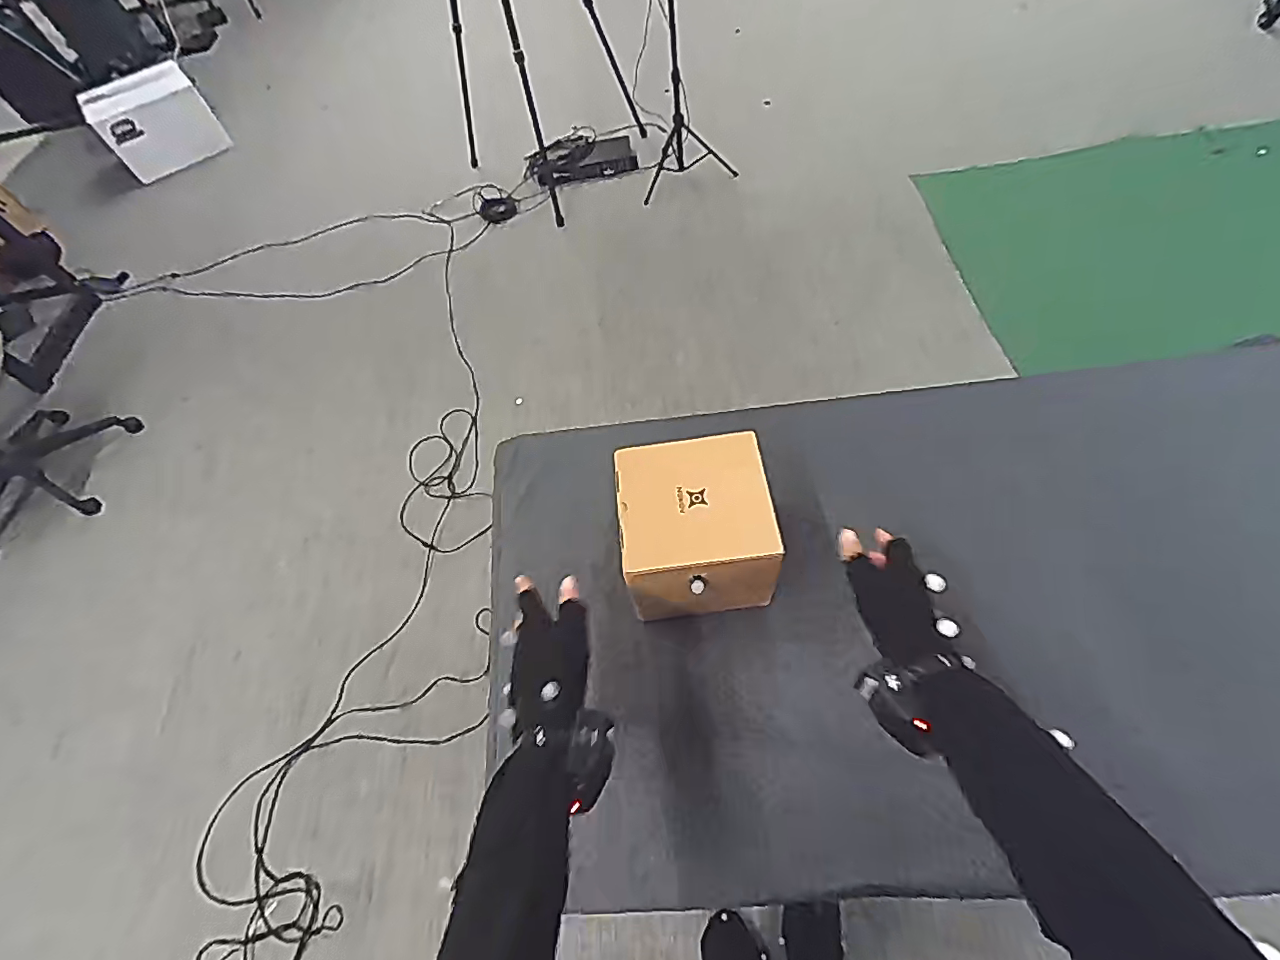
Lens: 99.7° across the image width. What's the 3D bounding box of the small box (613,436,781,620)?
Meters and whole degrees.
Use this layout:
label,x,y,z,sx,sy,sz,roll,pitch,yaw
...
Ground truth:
label,x,y,z,sx,sy,sz,roll,pitch,yaw
small box,0.068,0.067,0.686,0.179,0.176,0.168,-8,58,4
